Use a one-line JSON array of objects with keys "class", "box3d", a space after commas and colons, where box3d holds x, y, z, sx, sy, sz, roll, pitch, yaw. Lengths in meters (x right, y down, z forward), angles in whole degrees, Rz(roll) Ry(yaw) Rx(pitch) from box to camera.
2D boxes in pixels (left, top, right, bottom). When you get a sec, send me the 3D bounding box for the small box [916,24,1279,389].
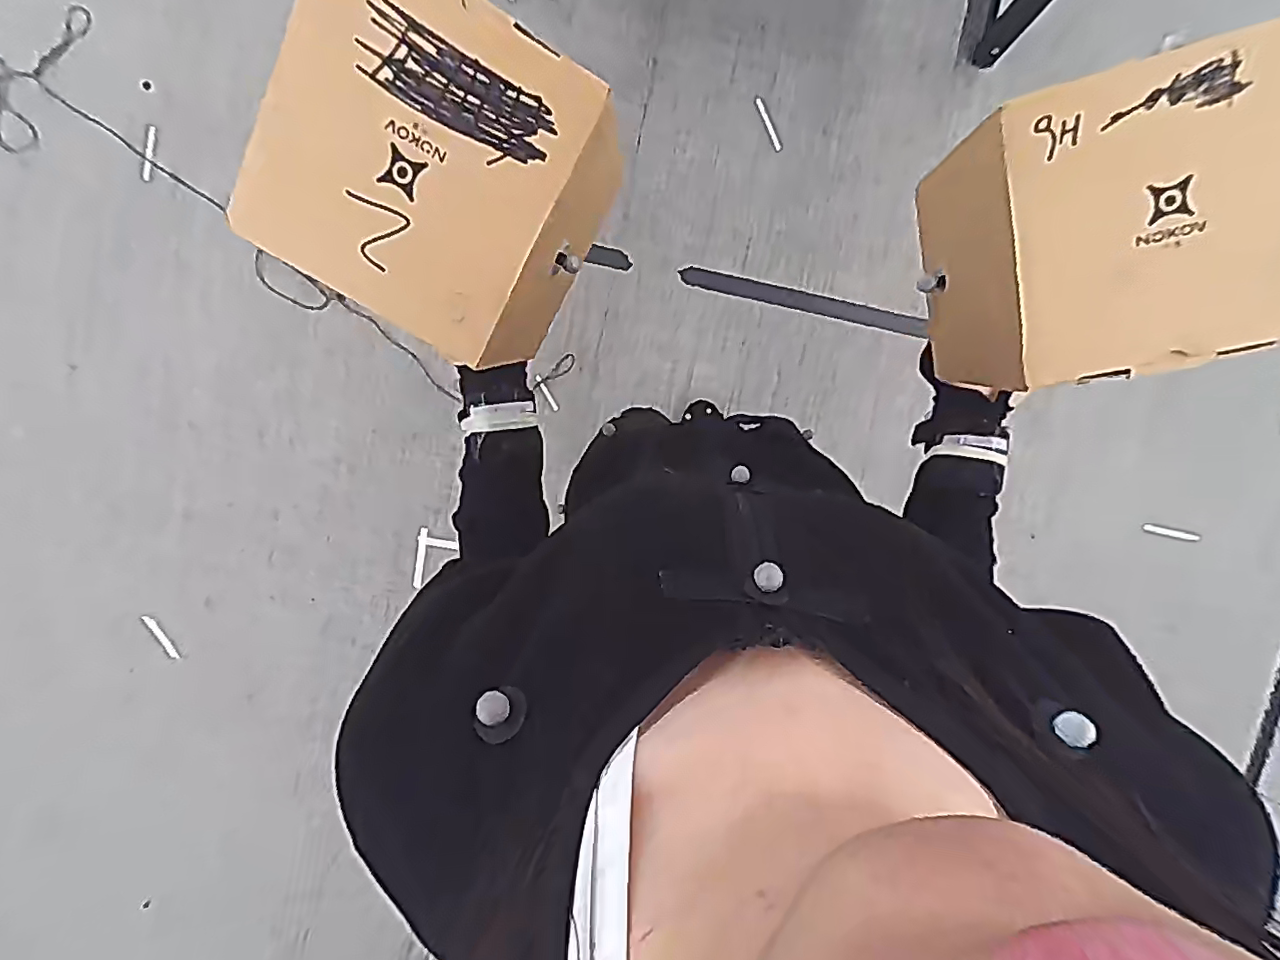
[{"class": "small box", "box3d": [0.324, -0.176, 0.402, 0.168, 0.176, 0.179, -11, 102, 12]}]
